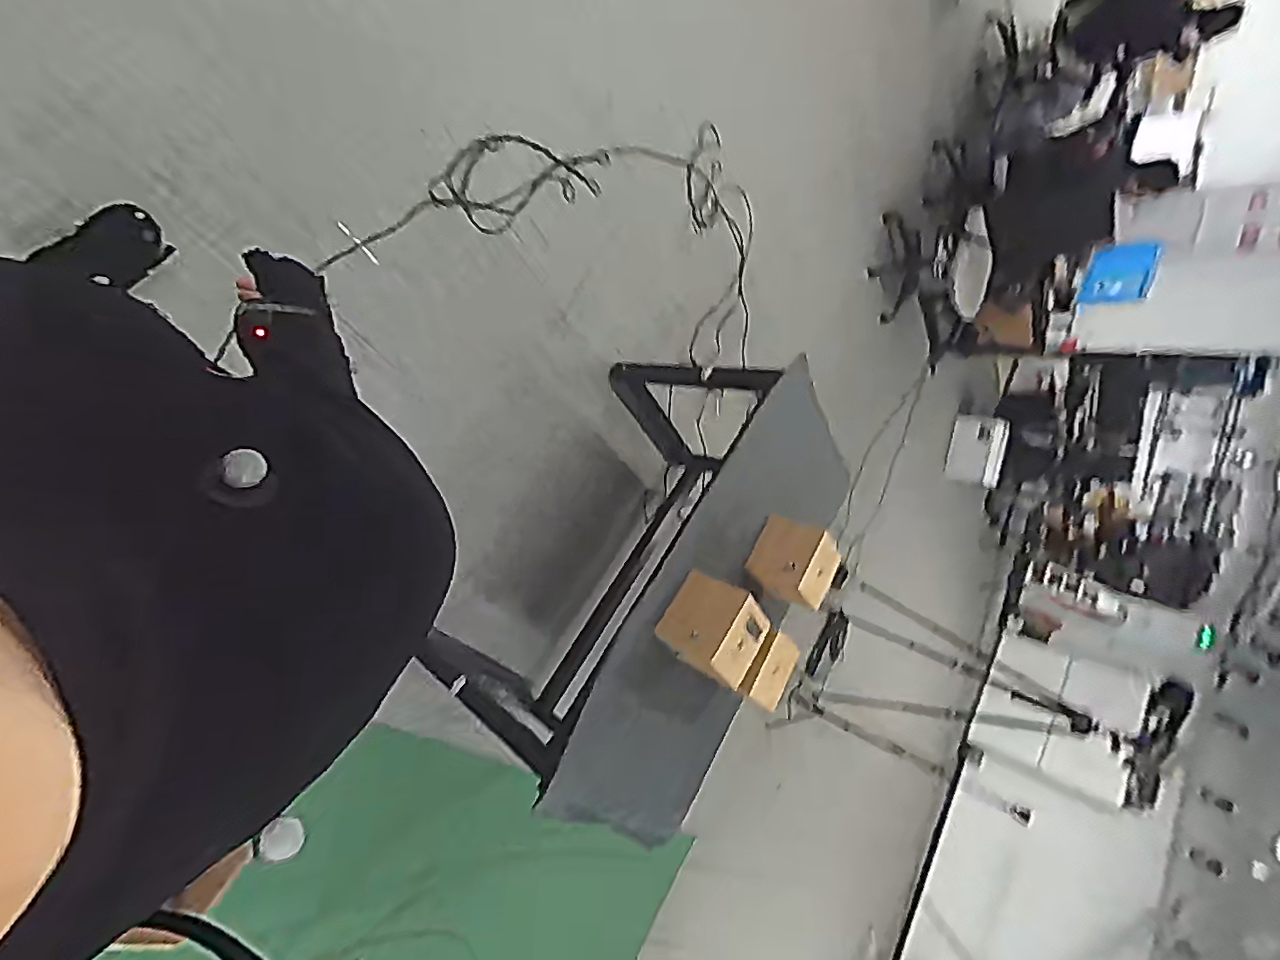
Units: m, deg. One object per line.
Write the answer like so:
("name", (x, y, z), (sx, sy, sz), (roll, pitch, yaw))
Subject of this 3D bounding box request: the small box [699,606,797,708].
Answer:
("small box", (0.277, 0.459, 1.412), (0.168, 0.176, 0.179), (46, 67, -42))

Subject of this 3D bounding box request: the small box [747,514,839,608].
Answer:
("small box", (0.413, 0.219, 1.484), (0.179, 0.176, 0.168), (-59, 135, -17))
